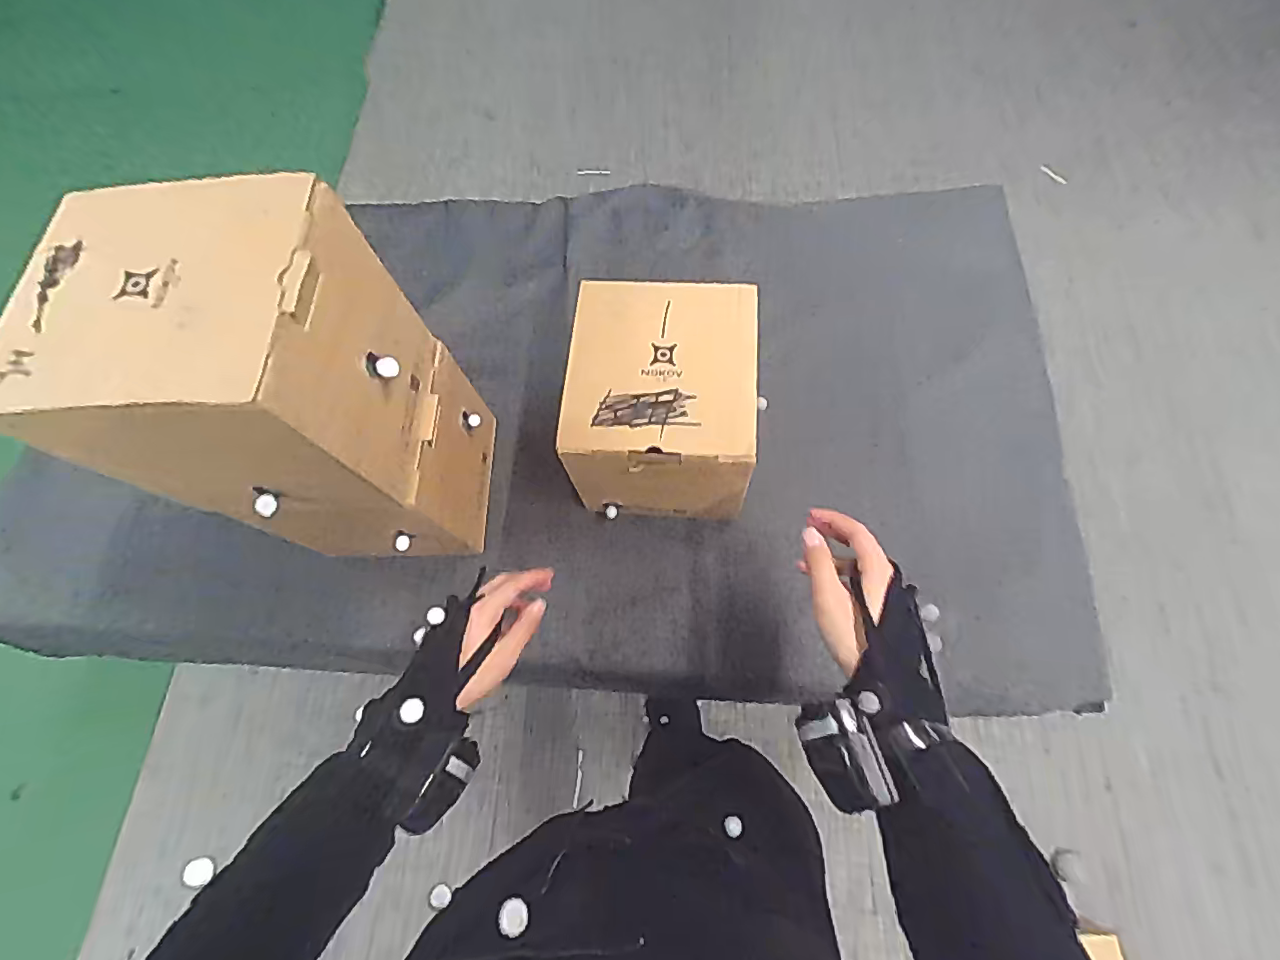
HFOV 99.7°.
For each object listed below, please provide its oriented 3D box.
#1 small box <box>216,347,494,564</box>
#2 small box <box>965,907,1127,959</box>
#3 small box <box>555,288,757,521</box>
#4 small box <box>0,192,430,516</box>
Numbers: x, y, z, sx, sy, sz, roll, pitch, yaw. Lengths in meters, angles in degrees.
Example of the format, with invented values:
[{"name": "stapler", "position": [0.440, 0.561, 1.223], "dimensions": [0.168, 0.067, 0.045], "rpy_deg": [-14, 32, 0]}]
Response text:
[{"name": "small box", "position": [-0.261, -0.015, 0.547], "dimensions": [0.179, 0.176, 0.168], "rpy_deg": [-2, 67, 4]}, {"name": "small box", "position": [0.693, 0.850, 0.914], "dimensions": [0.179, 0.176, 0.168], "rpy_deg": [-3, 68, 4]}, {"name": "small box", "position": [0.024, -0.066, 0.543], "dimensions": [0.168, 0.176, 0.179], "rpy_deg": [4, 68, 5]}, {"name": "small box", "position": [-0.277, -0.077, 0.395], "dimensions": [0.179, 0.176, 0.168], "rpy_deg": [-1, 68, 4]}]
